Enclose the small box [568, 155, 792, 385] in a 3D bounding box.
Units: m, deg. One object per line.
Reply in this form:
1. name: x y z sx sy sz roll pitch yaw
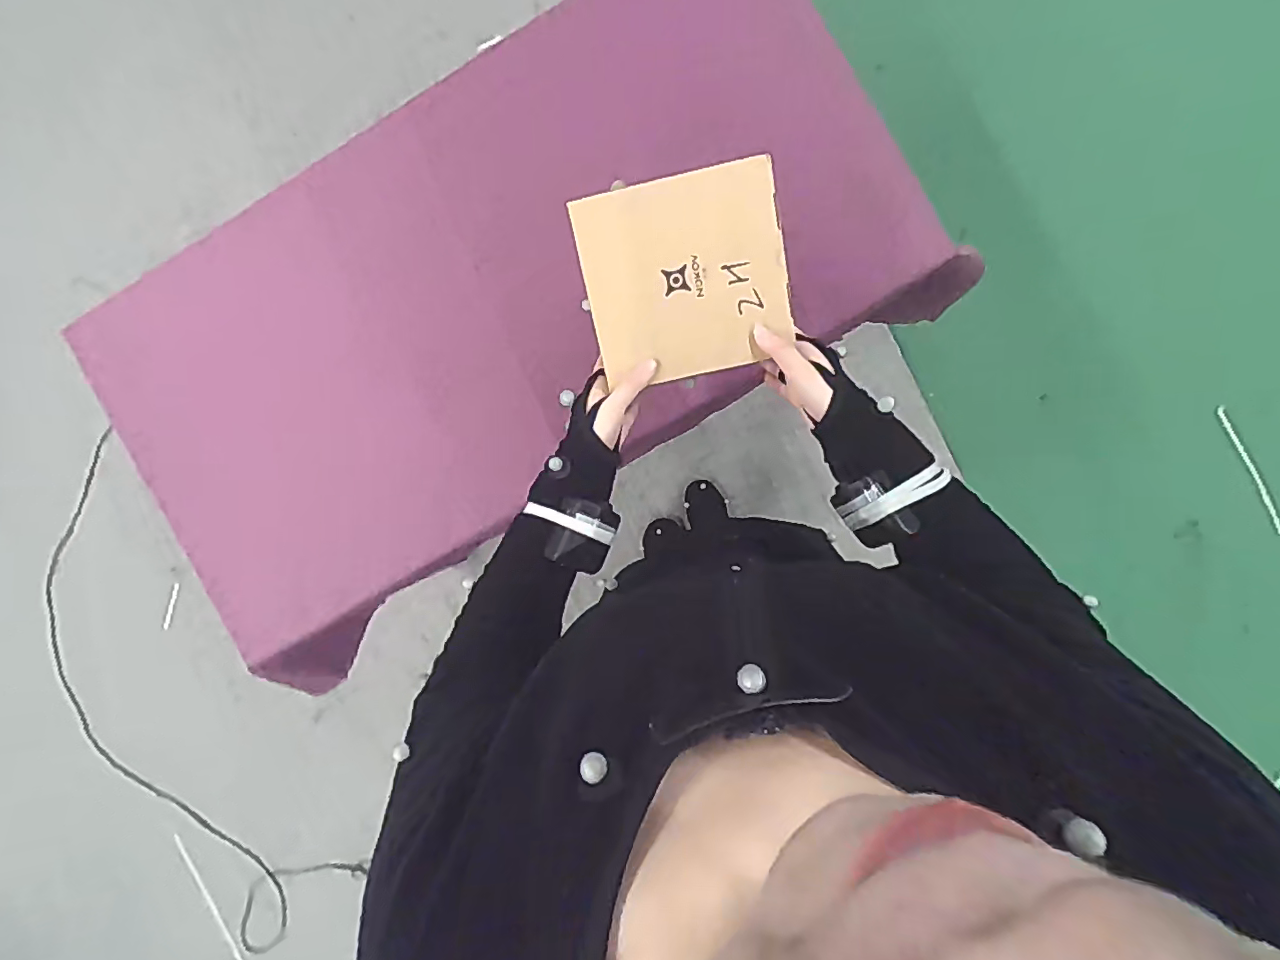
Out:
1. small box: 0.042 -0.196 0.549 0.179 0.176 0.168 -10 104 5
